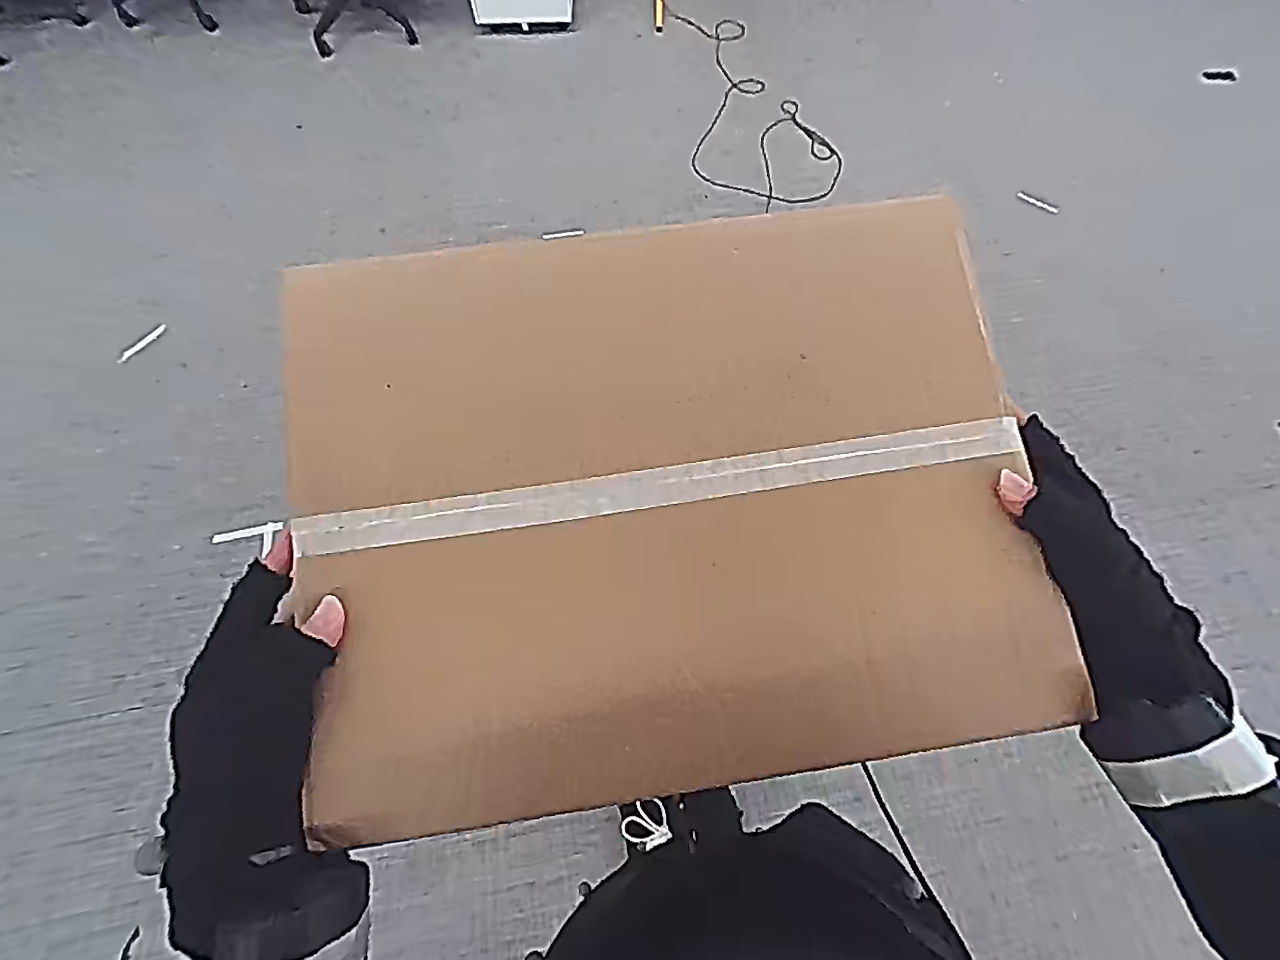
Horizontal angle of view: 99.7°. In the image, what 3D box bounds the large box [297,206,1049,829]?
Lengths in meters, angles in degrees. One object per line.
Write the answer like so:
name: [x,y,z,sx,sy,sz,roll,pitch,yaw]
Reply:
large box: [0.008,0.025,0.458,0.408,0.320,0.320,-8,80,-3]
